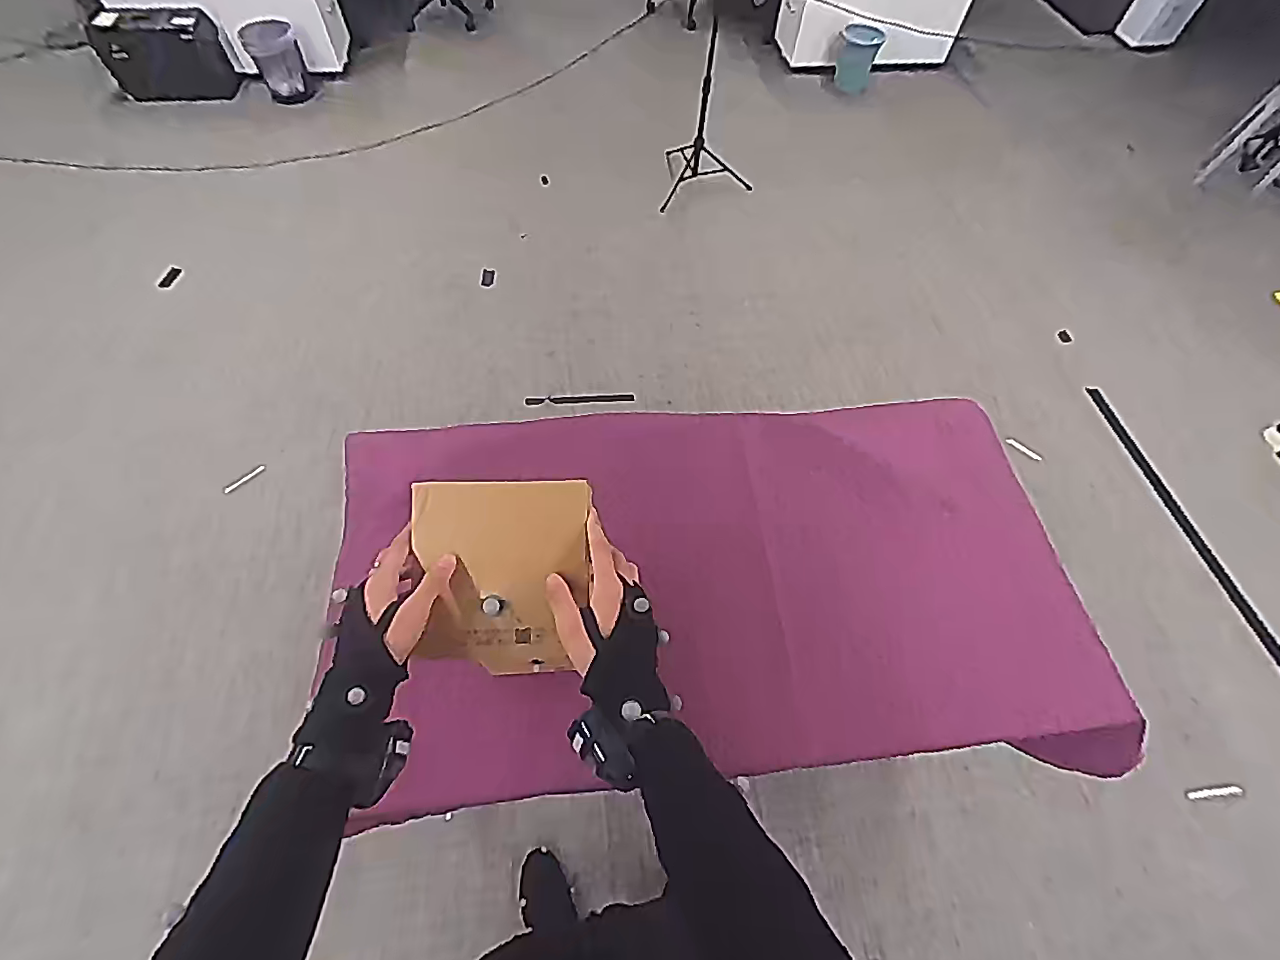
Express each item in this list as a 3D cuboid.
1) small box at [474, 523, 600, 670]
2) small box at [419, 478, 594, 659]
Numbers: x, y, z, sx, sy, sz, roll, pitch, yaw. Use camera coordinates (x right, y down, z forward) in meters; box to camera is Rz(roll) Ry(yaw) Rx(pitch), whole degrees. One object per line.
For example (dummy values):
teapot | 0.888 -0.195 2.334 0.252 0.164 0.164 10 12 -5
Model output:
small box | -0.143 0.175 0.790 0.168 0.176 0.179 -2 60 -4
small box | -0.136 0.090 0.593 0.168 0.179 0.176 0 86 -5
